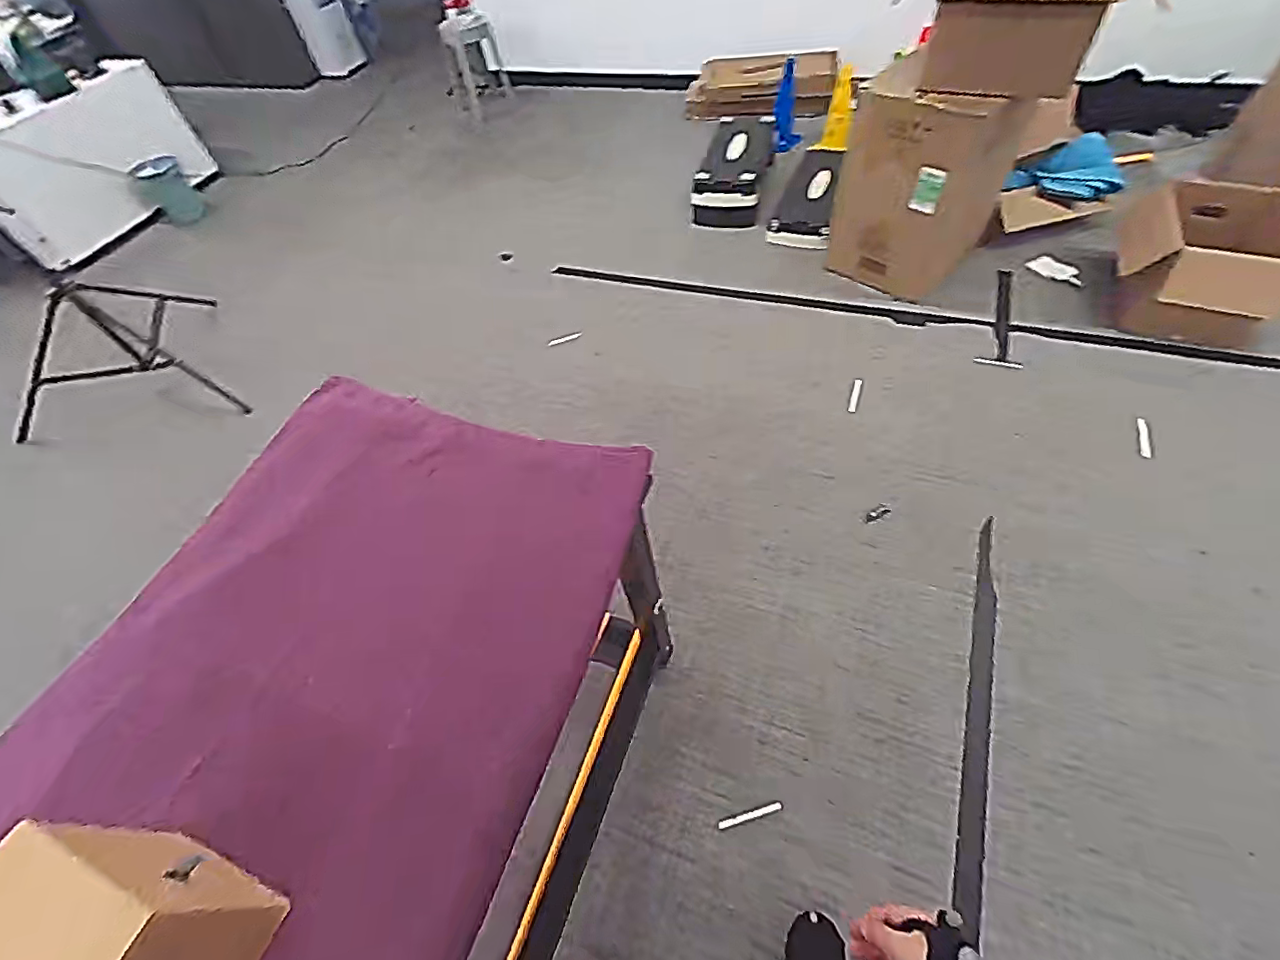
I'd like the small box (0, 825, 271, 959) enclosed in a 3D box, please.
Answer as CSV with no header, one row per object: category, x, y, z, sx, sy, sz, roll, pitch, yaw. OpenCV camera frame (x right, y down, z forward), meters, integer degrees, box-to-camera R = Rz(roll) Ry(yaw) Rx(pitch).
small box,-0.451,0.414,0.440,0.168,0.176,0.179,13,58,17
